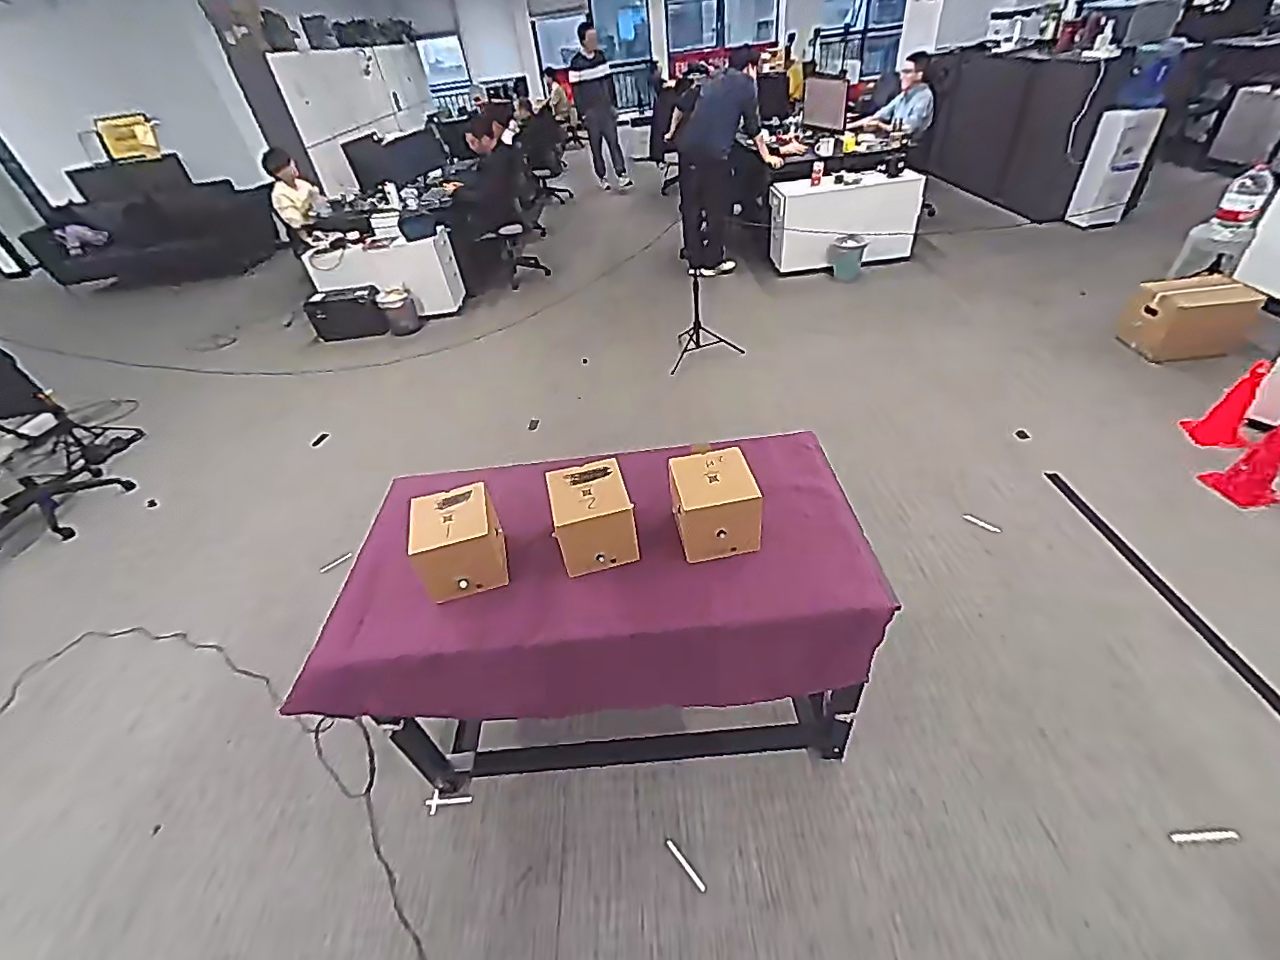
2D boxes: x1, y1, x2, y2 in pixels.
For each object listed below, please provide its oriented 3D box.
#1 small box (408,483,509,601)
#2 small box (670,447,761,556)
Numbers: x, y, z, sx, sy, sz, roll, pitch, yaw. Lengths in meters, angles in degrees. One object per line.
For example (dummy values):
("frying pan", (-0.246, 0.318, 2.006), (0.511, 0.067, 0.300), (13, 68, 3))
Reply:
("small box", (-0.400, 0.138, 1.208), (0.168, 0.176, 0.179), (-15, 41, -8))
("small box", (0.168, 0.054, 1.210), (0.168, 0.176, 0.179), (-10, 40, -2))
